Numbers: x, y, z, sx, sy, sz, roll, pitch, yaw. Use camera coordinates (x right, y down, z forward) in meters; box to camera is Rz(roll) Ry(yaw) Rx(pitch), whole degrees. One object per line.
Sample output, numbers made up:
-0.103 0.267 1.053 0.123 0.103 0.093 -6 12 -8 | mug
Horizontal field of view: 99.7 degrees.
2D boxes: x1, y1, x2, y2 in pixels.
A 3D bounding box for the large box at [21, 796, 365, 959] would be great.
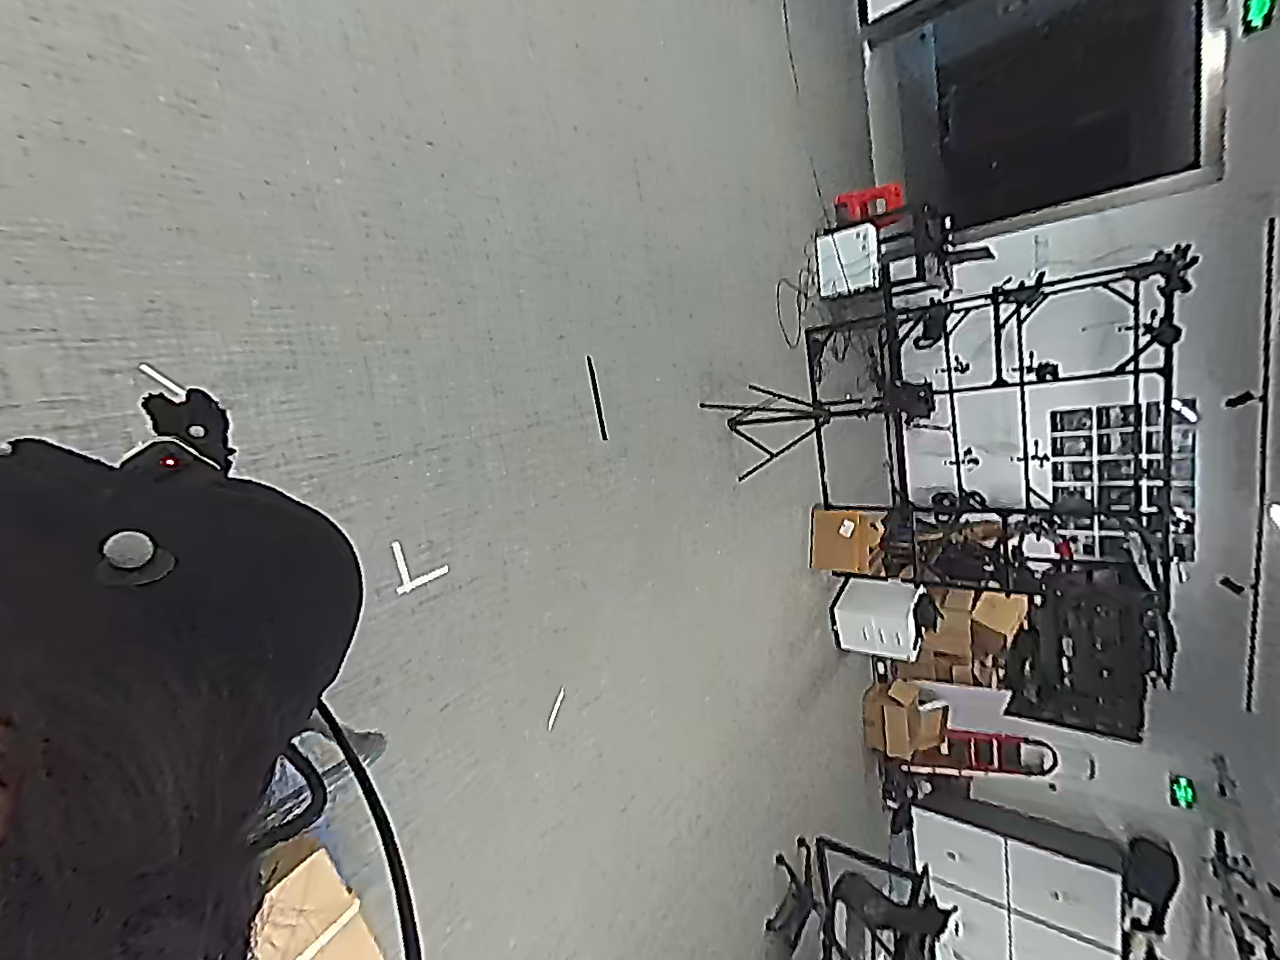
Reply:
-0.803 0.885 0.971 0.408 0.320 0.320 -32 113 -47 | large box
